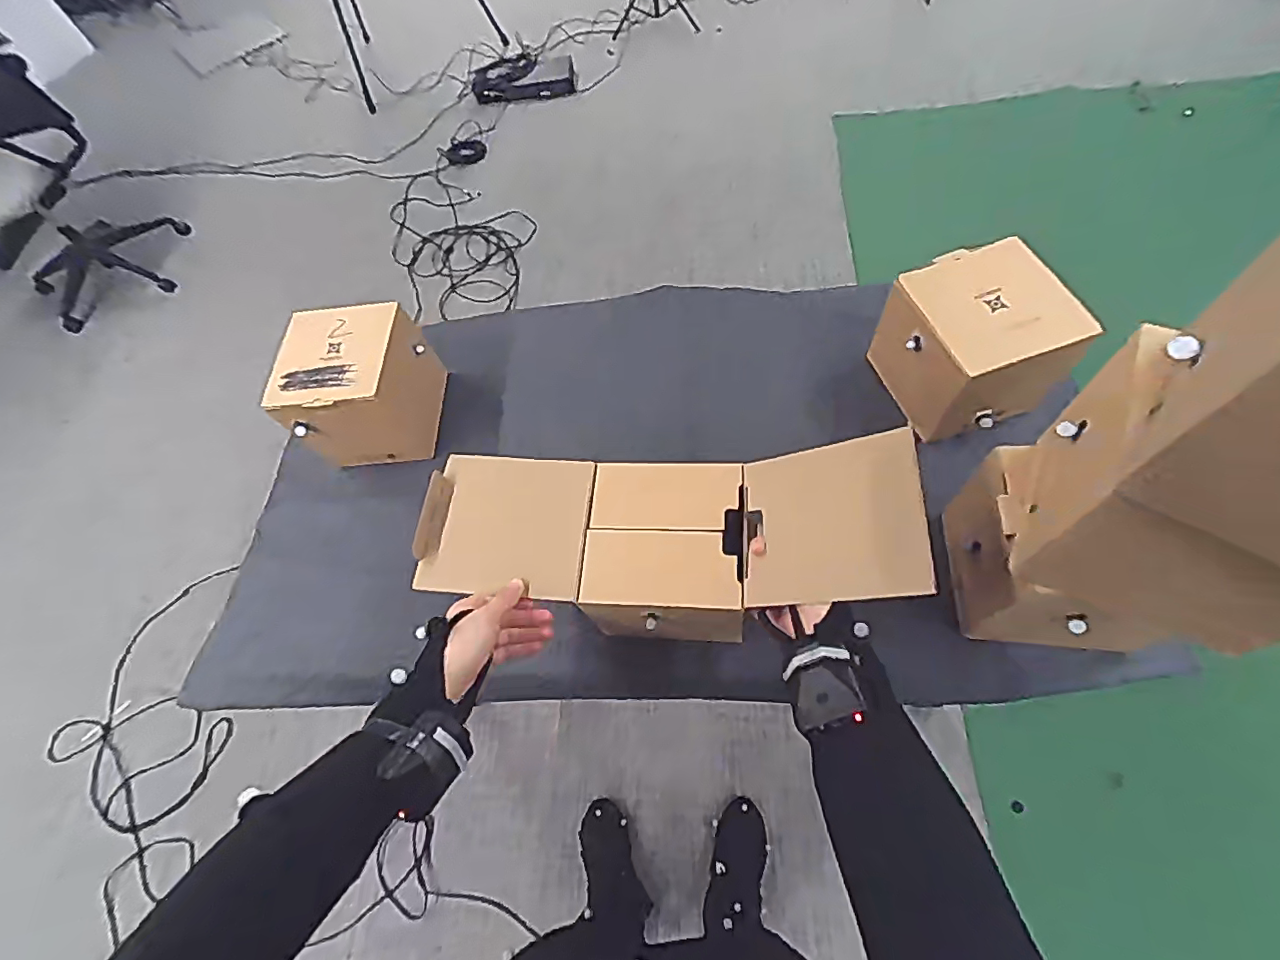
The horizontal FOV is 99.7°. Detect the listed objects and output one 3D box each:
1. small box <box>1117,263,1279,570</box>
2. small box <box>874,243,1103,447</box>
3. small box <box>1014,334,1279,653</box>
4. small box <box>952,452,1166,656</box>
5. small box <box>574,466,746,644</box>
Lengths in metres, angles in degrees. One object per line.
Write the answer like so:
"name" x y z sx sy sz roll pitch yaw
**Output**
"small box" 0.421 -0.043 0.284 0.179 0.176 0.168 32 69 24
"small box" 0.441 -0.173 0.725 0.168 0.176 0.179 -18 63 1
"small box" 0.444 0.018 0.437 0.179 0.176 0.168 23 65 19
"small box" 0.461 0.085 0.586 0.179 0.176 0.168 3 60 10
"small box" 0.035 0.095 0.643 0.179 0.176 0.168 1 64 9
